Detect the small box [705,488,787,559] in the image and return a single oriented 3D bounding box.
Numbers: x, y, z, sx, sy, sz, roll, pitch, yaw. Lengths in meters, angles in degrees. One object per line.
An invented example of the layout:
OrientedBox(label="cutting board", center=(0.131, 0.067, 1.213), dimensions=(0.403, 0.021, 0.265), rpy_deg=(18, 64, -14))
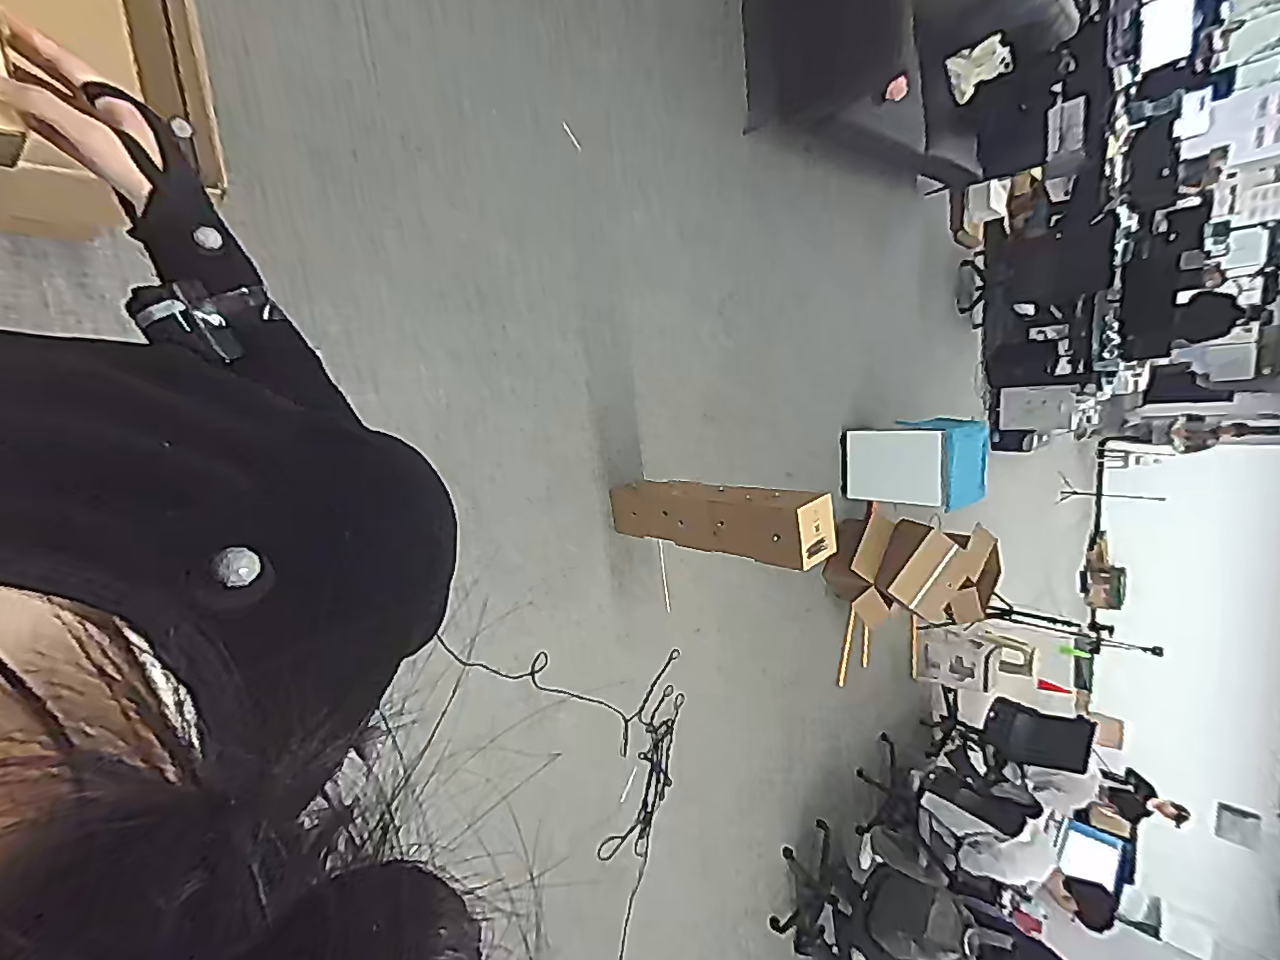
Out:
OrientedBox(label="small box", center=(0.320, 0.124, 1.636), dimensions=(0.179, 0.176, 0.168), rpy_deg=(-18, 104, -39))

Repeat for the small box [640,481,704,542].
OrientedBox(label="small box", center=(0.115, 0.103, 1.889), dimensions=(0.168, 0.176, 0.179), rpy_deg=(-15, 103, -40))

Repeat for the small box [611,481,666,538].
OrientedBox(label="small box", center=(0.006, 0.104, 2.011), dimensions=(0.168, 0.176, 0.179), rpy_deg=(-16, 104, -41))

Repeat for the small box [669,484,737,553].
OrientedBox(label="small box", center=(0.214, 0.120, 1.760), dimensions=(0.168, 0.176, 0.179), rpy_deg=(-18, 106, -40))
